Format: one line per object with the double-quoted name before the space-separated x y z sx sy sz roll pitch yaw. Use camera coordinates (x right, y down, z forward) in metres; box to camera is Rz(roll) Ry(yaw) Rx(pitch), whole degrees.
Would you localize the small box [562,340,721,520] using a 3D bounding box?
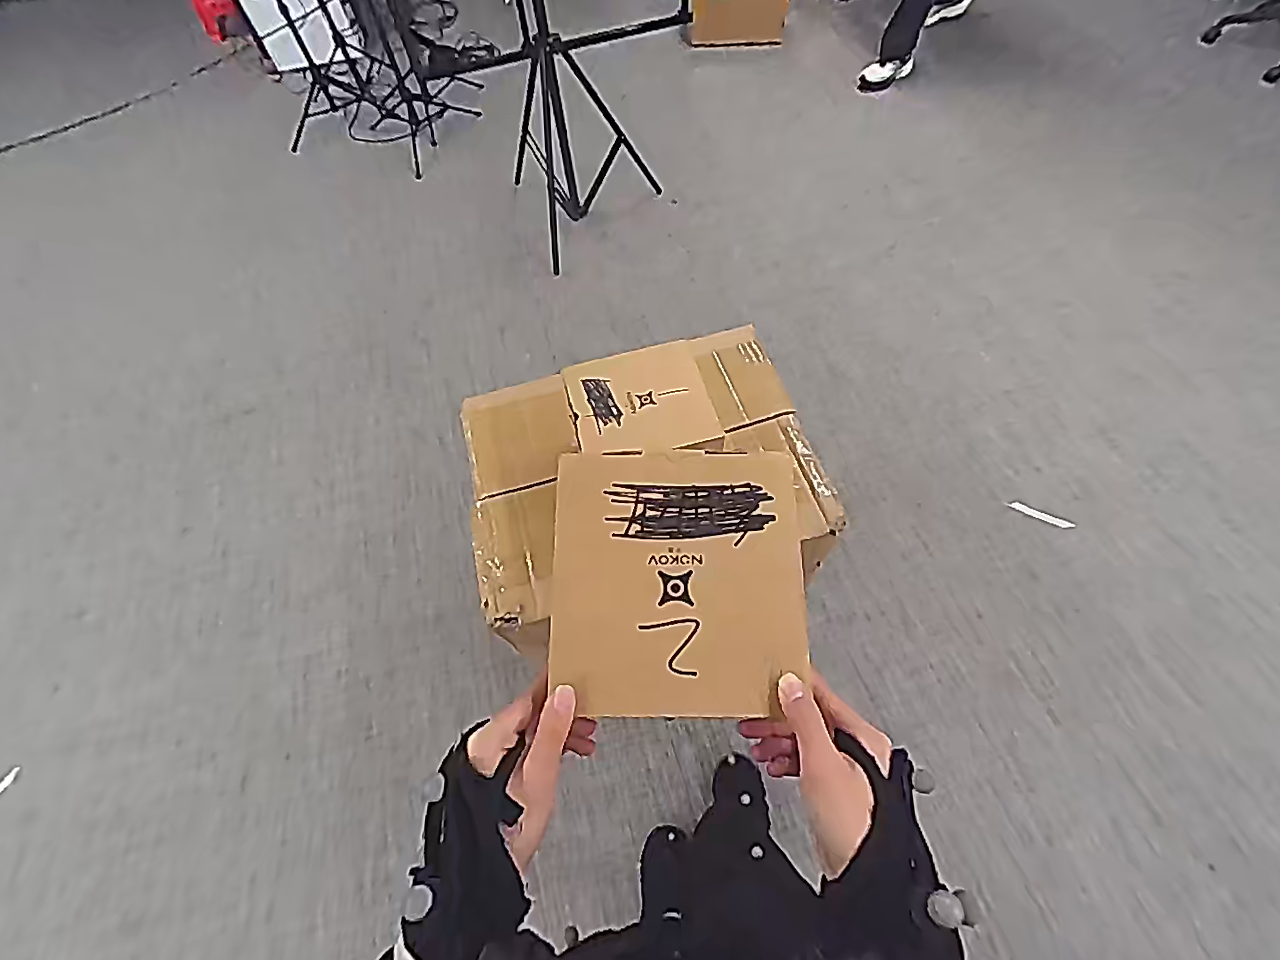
"small box" 0.003 -0.063 0.757 0.179 0.176 0.168 -14 61 -4
